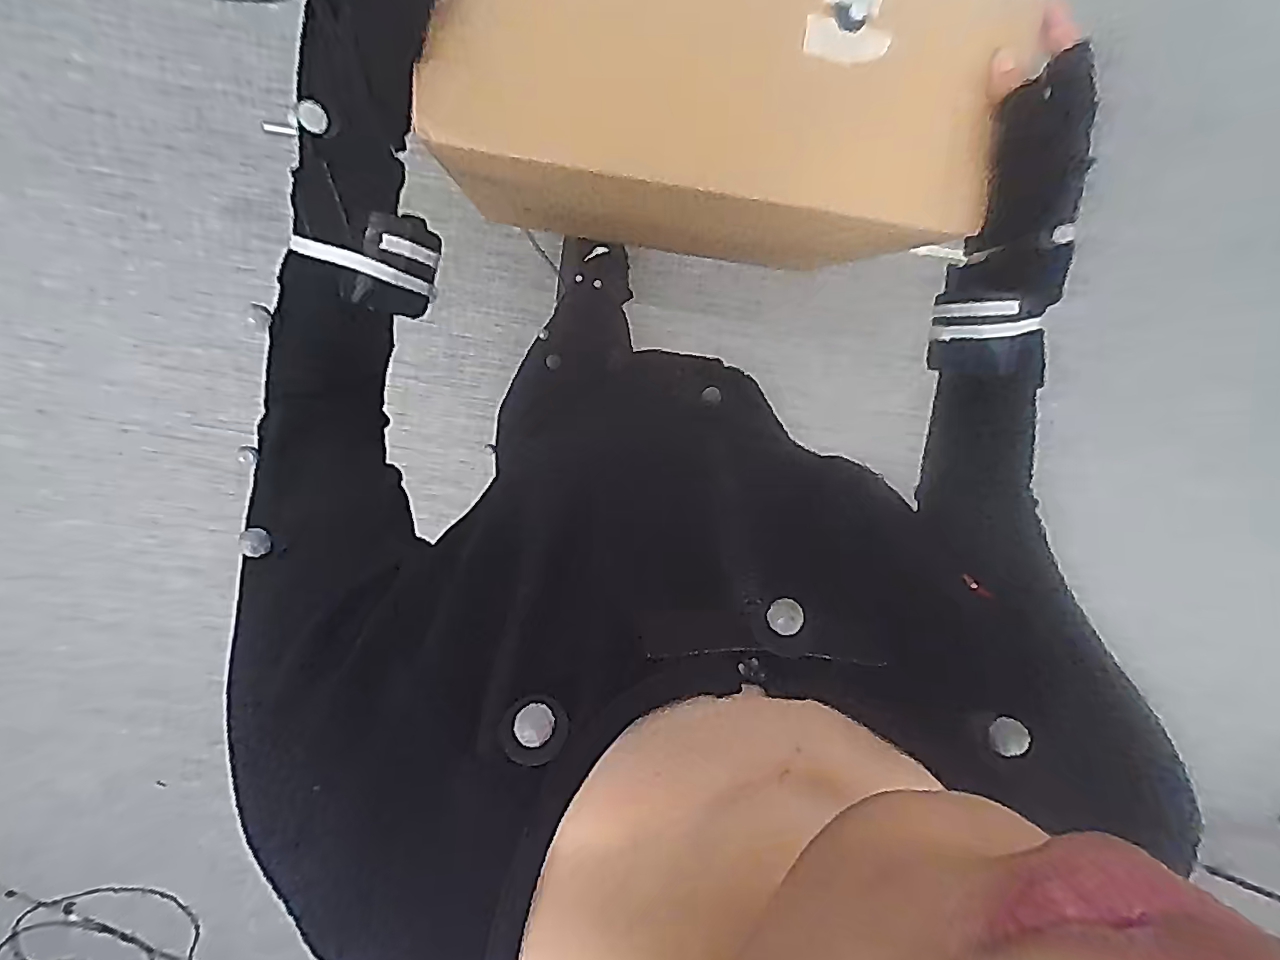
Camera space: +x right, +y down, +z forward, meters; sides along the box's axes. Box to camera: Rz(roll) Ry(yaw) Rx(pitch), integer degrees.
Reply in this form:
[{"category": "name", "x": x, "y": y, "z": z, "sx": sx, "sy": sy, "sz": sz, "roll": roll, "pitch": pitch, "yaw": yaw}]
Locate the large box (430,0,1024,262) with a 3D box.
[{"category": "large box", "x": 0.050, "y": -0.397, "z": 0.485, "sx": 0.408, "sy": 0.320, "sz": 0.320, "roll": 4, "pitch": 106, "yaw": -10}]
